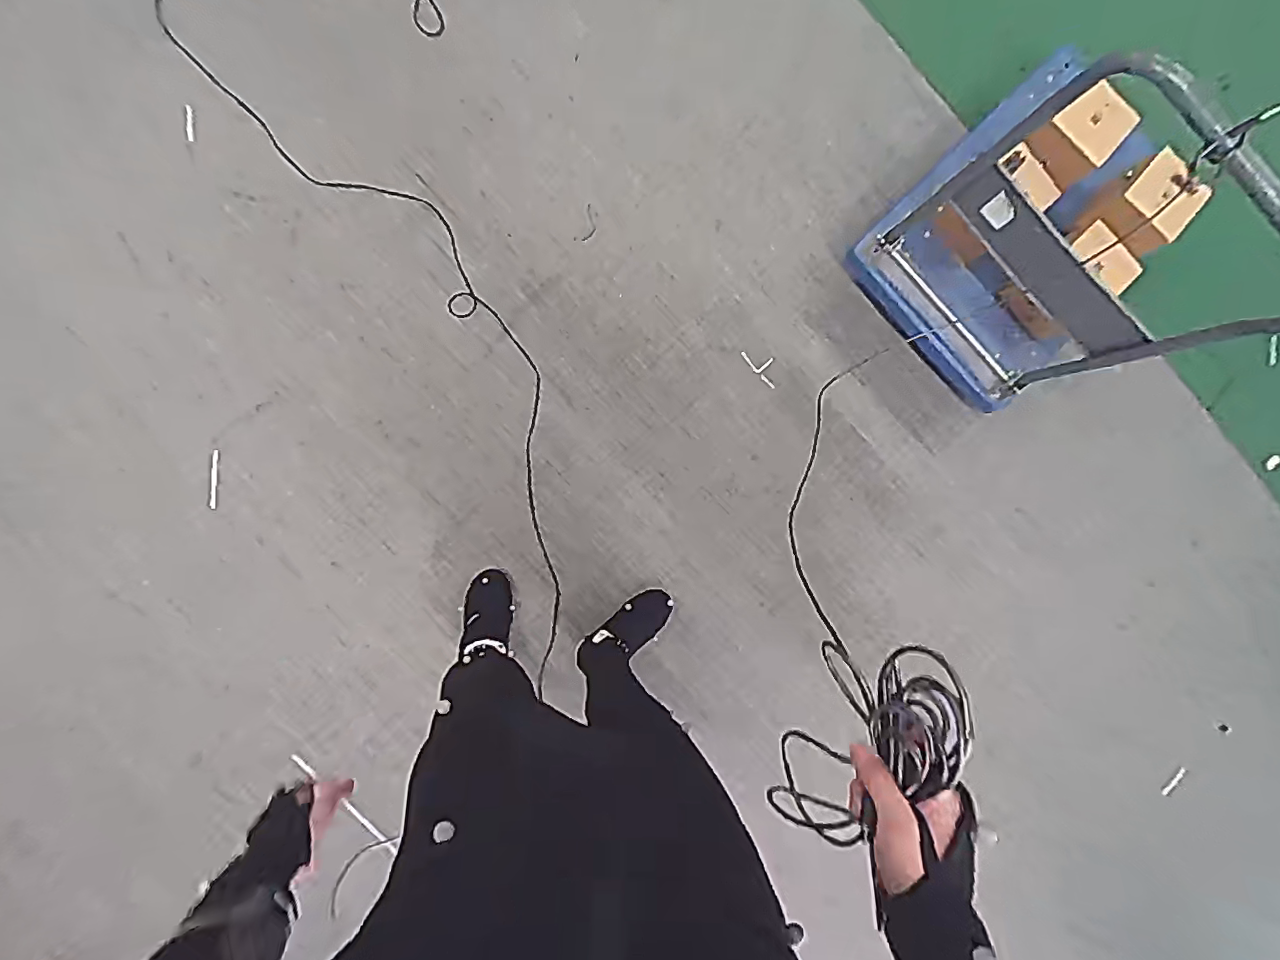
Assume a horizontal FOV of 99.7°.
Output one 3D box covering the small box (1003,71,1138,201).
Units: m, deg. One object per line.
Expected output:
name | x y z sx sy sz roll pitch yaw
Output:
small box | 1.057 -0.844 1.348 0.168 0.176 0.179 43 84 -4

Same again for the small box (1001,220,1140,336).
small box | 1.048 -0.489 1.332 0.179 0.176 0.168 -43 93 -6

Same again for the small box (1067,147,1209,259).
small box | 1.242 -0.675 1.362 0.168 0.176 0.179 43 85 -3
